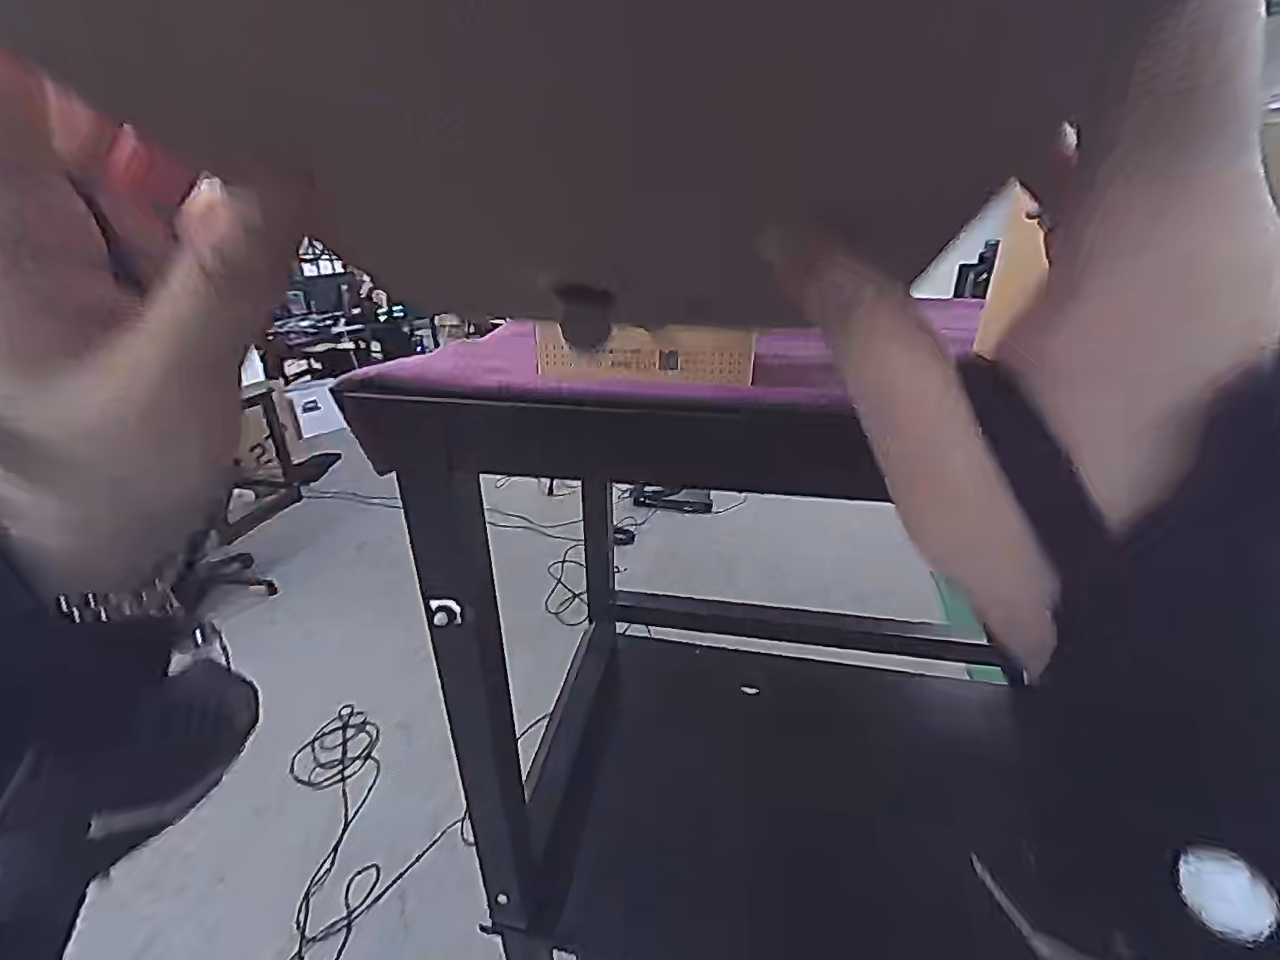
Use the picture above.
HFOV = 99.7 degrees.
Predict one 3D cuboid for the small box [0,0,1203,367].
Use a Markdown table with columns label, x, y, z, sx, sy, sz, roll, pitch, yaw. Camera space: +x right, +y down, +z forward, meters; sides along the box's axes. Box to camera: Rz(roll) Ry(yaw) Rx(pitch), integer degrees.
| label | x | y | z | sx | sy | sz | roll | pitch | yaw |
| --- | --- | --- | --- | --- | --- | --- | --- | --- | --- |
| small box | -0.009 | -0.136 | 0.128 | 0.168 | 0.179 | 0.176 | 4 | -1 | 9 |

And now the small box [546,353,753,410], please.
| label | x | y | z | sx | sy | sz | roll | pitch | yaw |
| --- | --- | --- | --- | --- | --- | --- | --- | --- | --- |
| small box | 0.016 | -0.167 | 0.459 | 0.168 | 0.176 | 0.179 | 5 | 24 | 10 |
